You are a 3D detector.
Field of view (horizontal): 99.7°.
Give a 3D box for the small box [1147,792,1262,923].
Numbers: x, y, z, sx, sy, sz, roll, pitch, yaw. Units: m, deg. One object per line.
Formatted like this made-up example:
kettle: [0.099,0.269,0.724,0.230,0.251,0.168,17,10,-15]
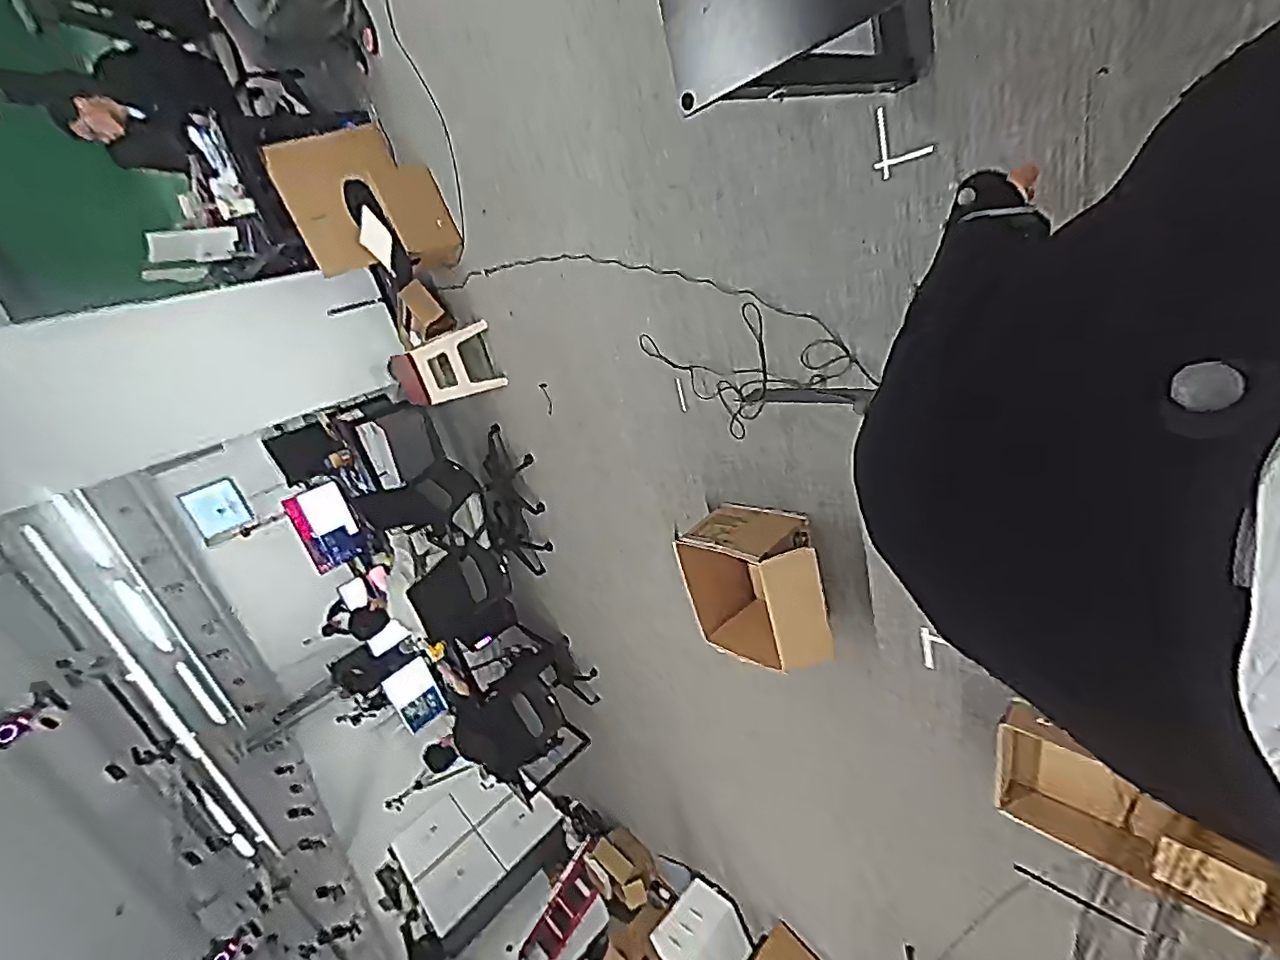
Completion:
small box: [1.424,0.940,1.365,0.179,0.176,0.168,13,123,48]
